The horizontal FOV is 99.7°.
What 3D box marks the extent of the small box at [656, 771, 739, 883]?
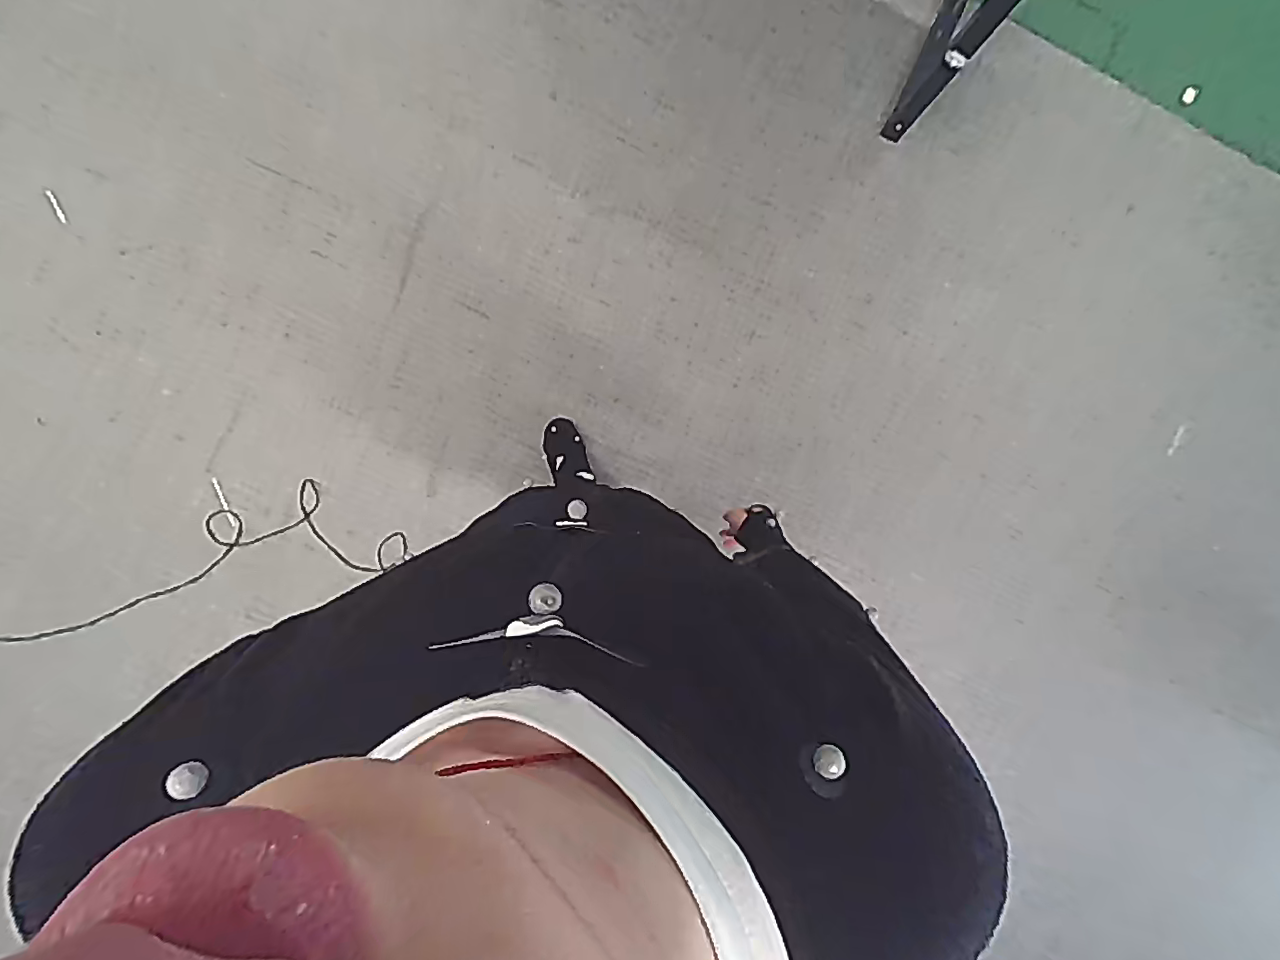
[{"bbox_3d":[0.154,0.971,1.526,0.168,0.176,0.179,26,90,-5],"label":"small box"}]
